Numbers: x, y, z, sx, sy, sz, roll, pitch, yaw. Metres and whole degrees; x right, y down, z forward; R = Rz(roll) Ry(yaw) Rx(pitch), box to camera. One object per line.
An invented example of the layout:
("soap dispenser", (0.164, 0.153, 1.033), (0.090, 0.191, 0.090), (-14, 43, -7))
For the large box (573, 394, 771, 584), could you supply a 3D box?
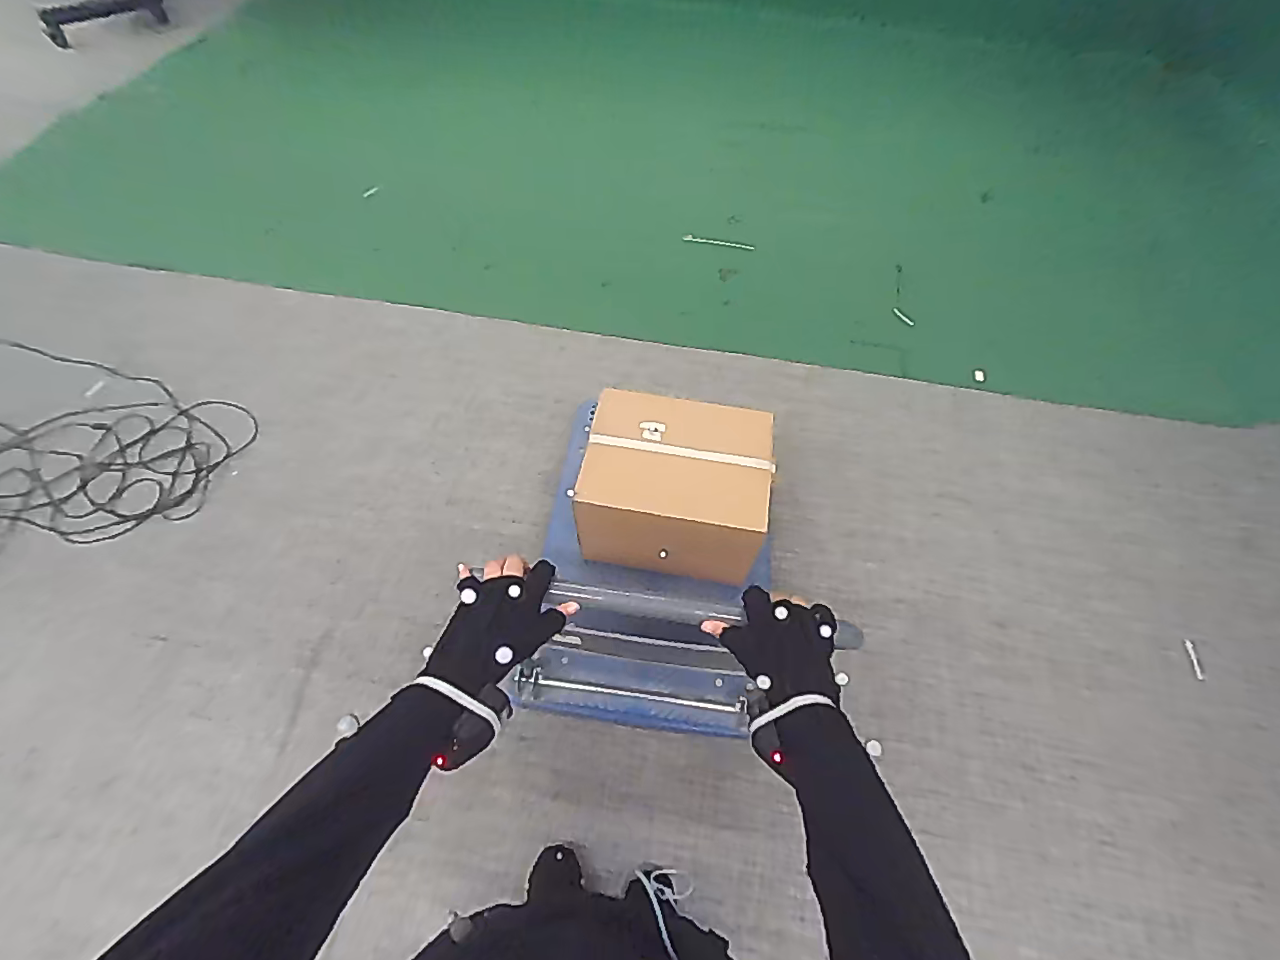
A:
("large box", (0.082, 0.031, 1.302), (0.408, 0.320, 0.320), (9, 58, 5))
